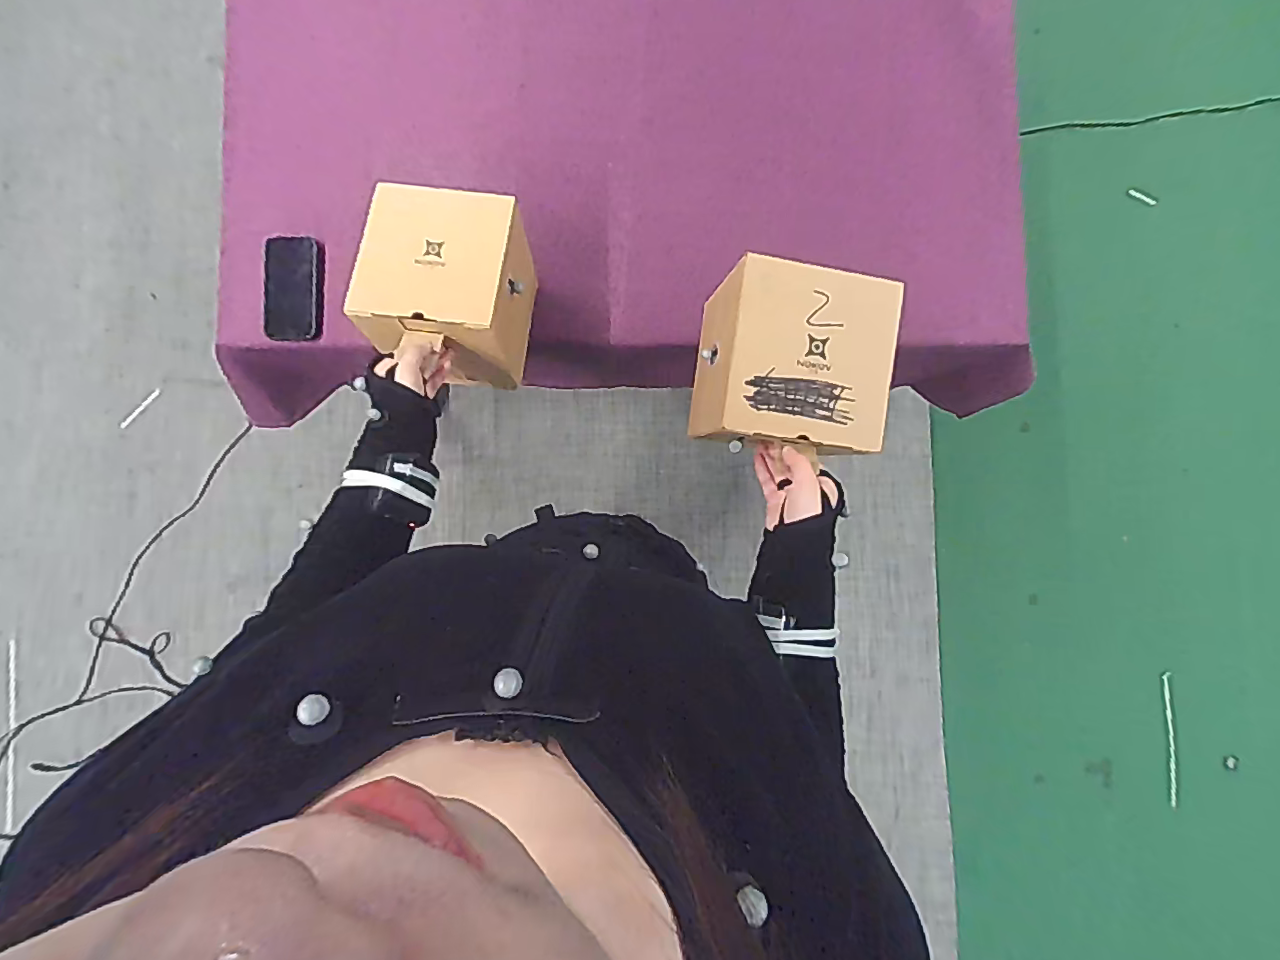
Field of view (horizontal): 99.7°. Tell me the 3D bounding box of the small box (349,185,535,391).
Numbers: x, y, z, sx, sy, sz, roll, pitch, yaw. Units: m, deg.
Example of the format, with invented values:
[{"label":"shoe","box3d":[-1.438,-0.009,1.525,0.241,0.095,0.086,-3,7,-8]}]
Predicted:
[{"label":"small box","box3d":[-0.235,-0.235,0.694,0.168,0.176,0.179,7,76,-1]}]
